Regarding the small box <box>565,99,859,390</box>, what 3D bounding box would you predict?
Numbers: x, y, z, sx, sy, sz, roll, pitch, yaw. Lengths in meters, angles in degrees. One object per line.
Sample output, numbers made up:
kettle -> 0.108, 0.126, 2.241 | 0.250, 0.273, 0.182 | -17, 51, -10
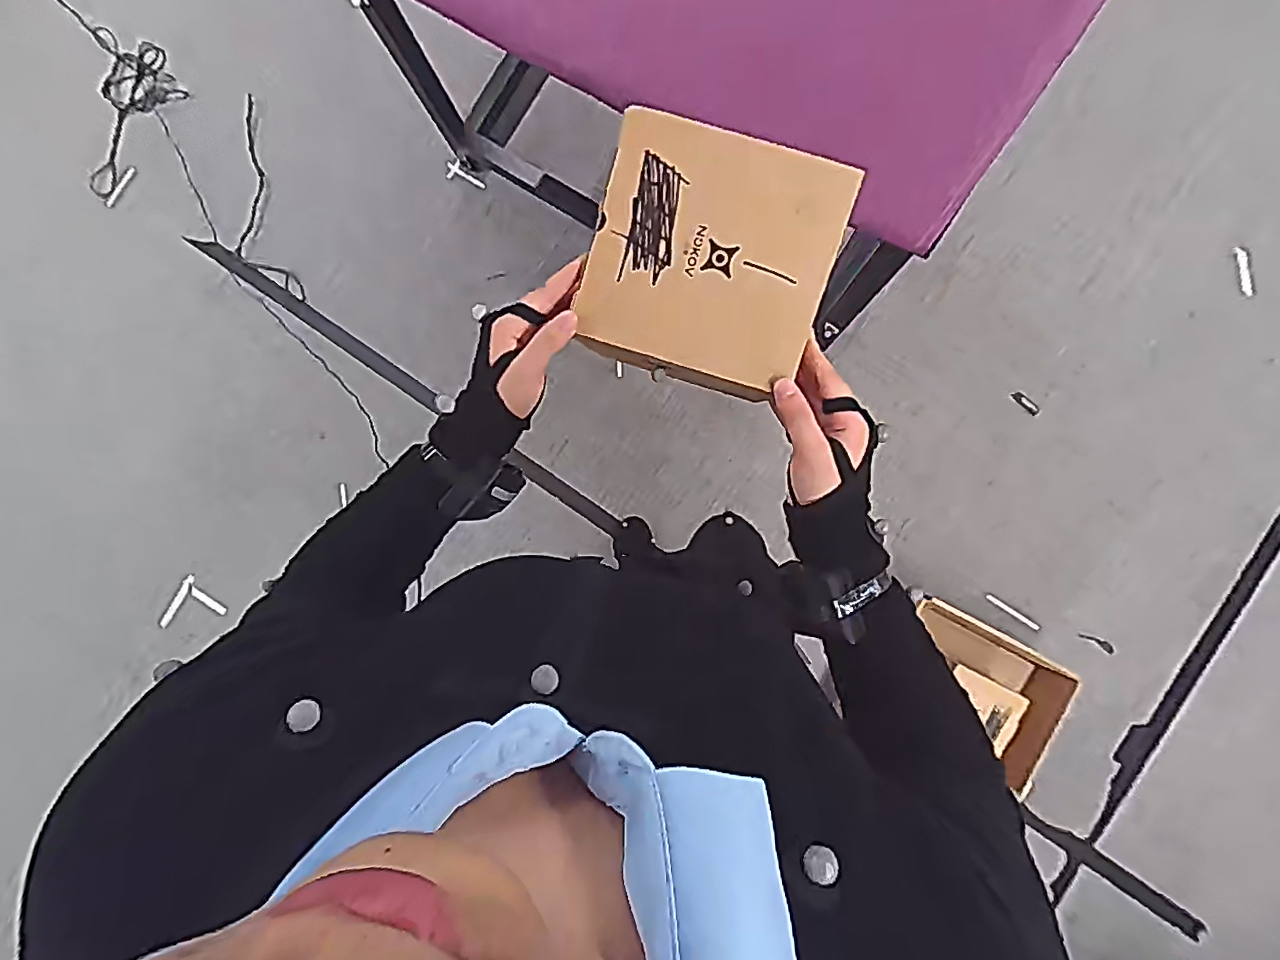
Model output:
small box -> 0.054, -0.179, 0.470 | 0.179, 0.176, 0.168 | 17, 98, 2
